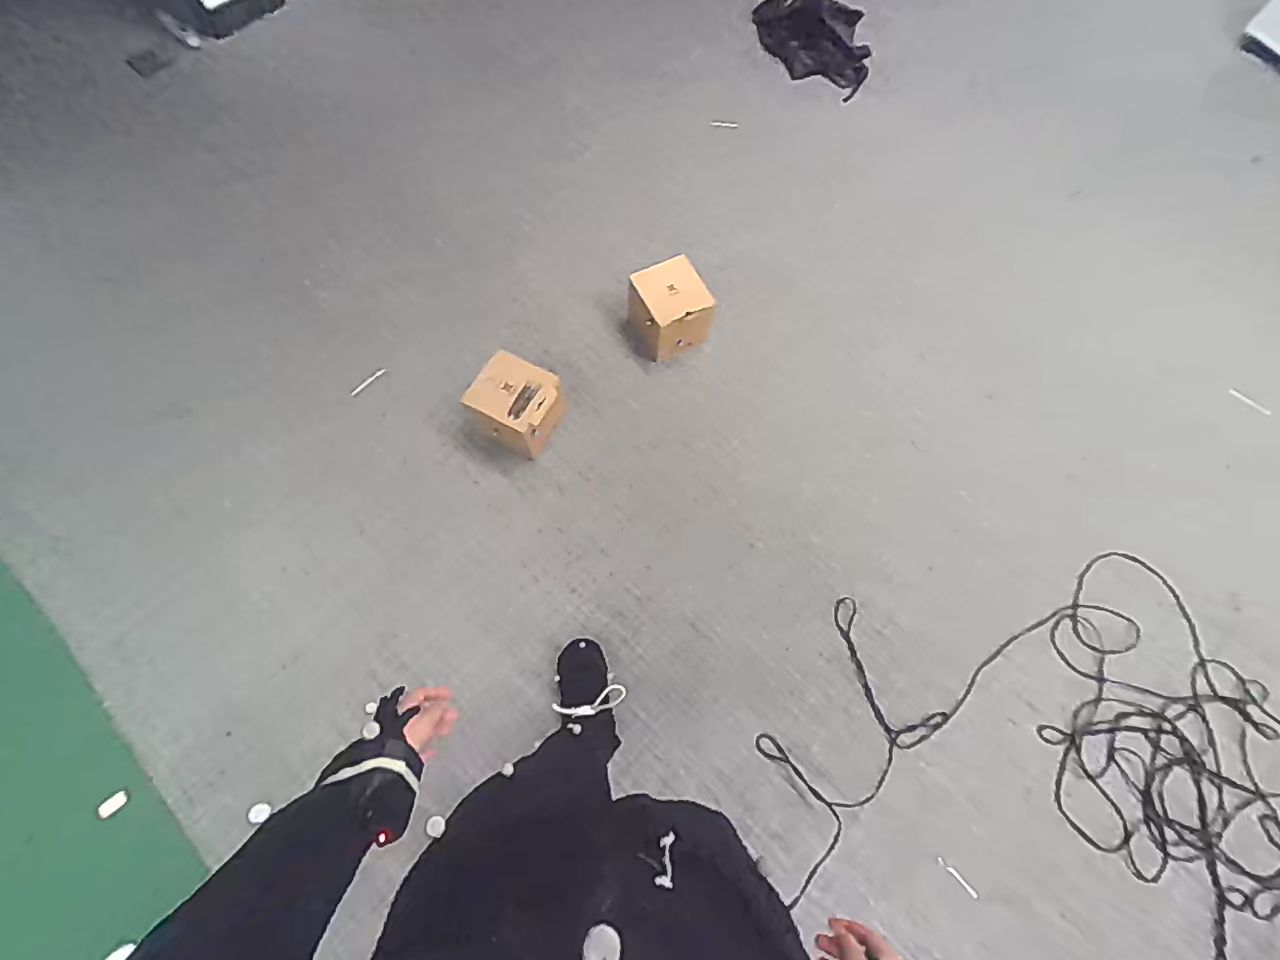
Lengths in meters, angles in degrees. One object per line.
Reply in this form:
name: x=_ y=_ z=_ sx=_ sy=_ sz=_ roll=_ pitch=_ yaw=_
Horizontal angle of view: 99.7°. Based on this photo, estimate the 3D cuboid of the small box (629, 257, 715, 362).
small box: x=0.077 y=-0.451 z=1.448 sx=0.168 sy=0.176 sz=0.179 roll=-26 pitch=73 yaw=-11
